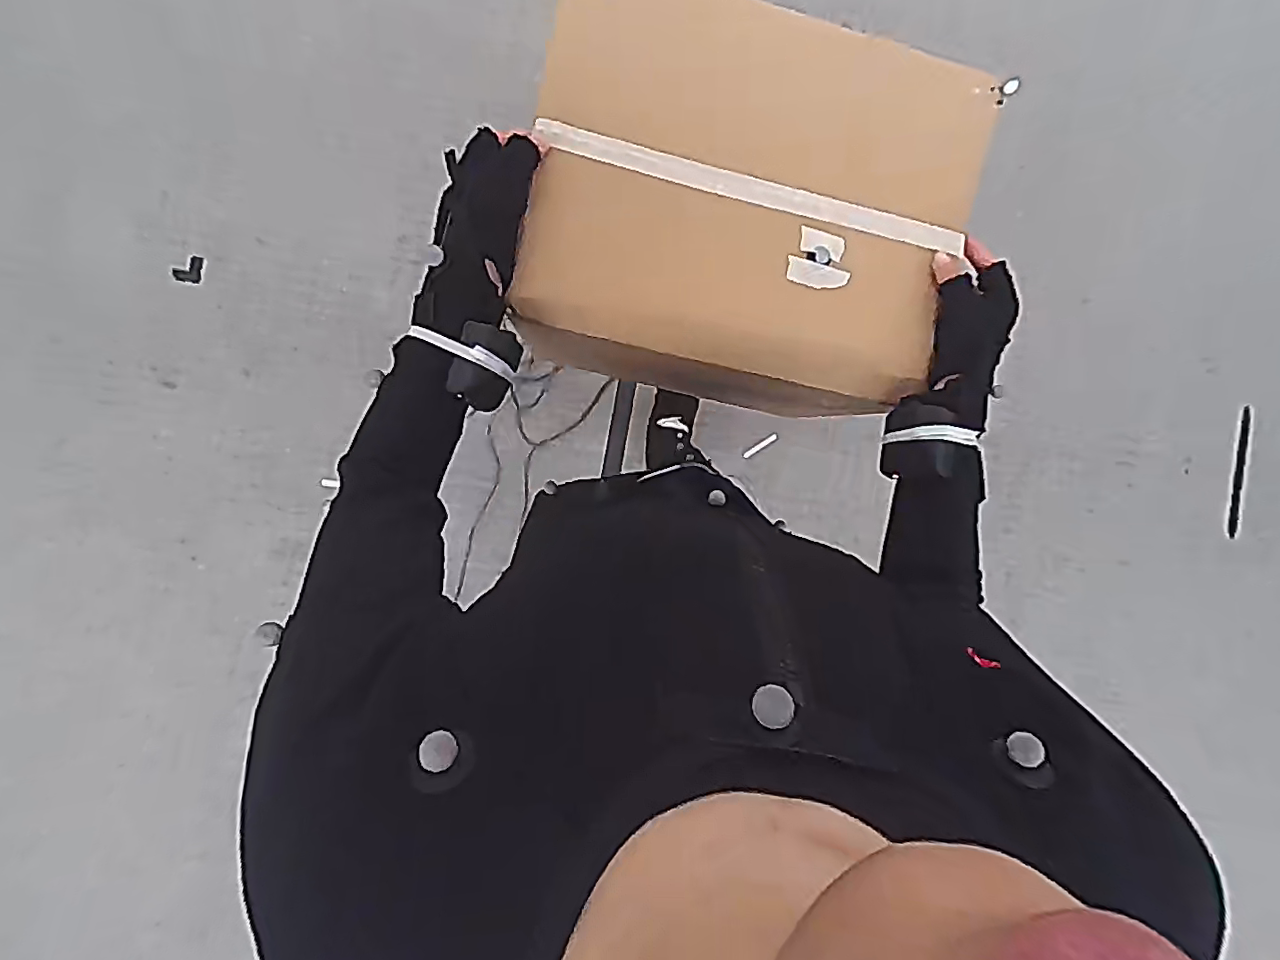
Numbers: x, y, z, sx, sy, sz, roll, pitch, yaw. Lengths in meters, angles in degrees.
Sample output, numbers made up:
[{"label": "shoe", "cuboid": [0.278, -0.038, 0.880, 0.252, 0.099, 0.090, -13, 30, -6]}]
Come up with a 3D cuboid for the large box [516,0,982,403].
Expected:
[{"label": "large box", "cuboid": [0.089, -0.288, 0.649, 0.408, 0.320, 0.320, 12, 95, -8]}]
